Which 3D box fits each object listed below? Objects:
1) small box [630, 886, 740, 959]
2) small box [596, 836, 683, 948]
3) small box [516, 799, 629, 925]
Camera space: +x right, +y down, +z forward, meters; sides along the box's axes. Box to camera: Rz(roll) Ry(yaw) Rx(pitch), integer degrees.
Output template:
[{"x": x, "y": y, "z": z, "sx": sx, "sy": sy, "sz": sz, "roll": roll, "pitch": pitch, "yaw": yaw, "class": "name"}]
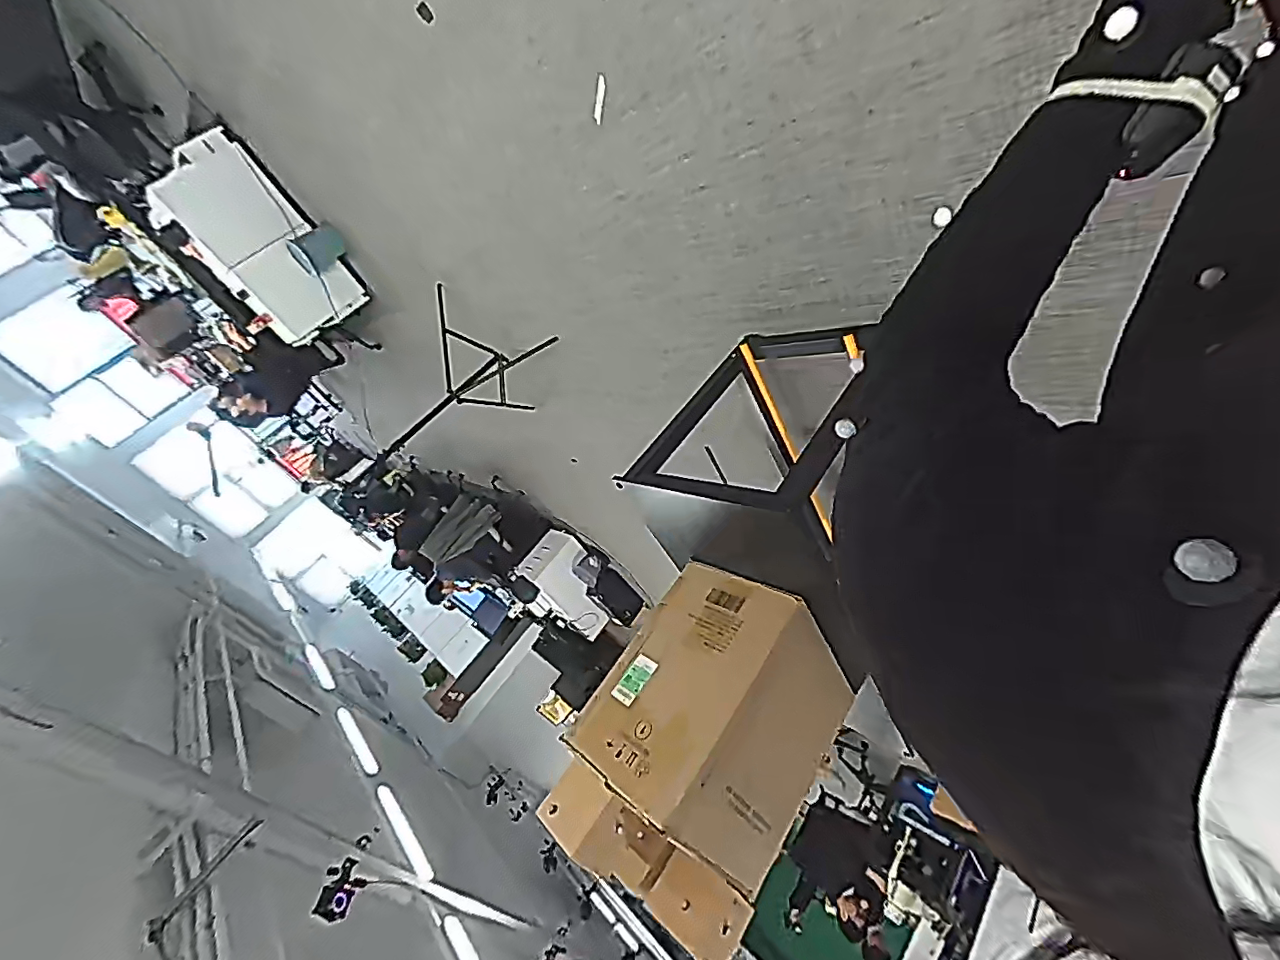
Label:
[{"x": 0.116, "y": 1.129, "z": 1.294, "sx": 0.179, "sy": 0.176, "sz": 0.168, "roll": 3, "pitch": 134, "yaw": 50, "class": "small box"}, {"x": -0.013, "y": 1.109, "z": 1.452, "sx": 0.168, "sy": 0.176, "sz": 0.179, "roll": 12, "pitch": 144, "yaw": 48, "class": "small box"}, {"x": -0.160, "y": 0.909, "z": 1.307, "sx": 0.179, "sy": 0.176, "sz": 0.168, "roll": 12, "pitch": 146, "yaw": 51, "class": "small box"}]
